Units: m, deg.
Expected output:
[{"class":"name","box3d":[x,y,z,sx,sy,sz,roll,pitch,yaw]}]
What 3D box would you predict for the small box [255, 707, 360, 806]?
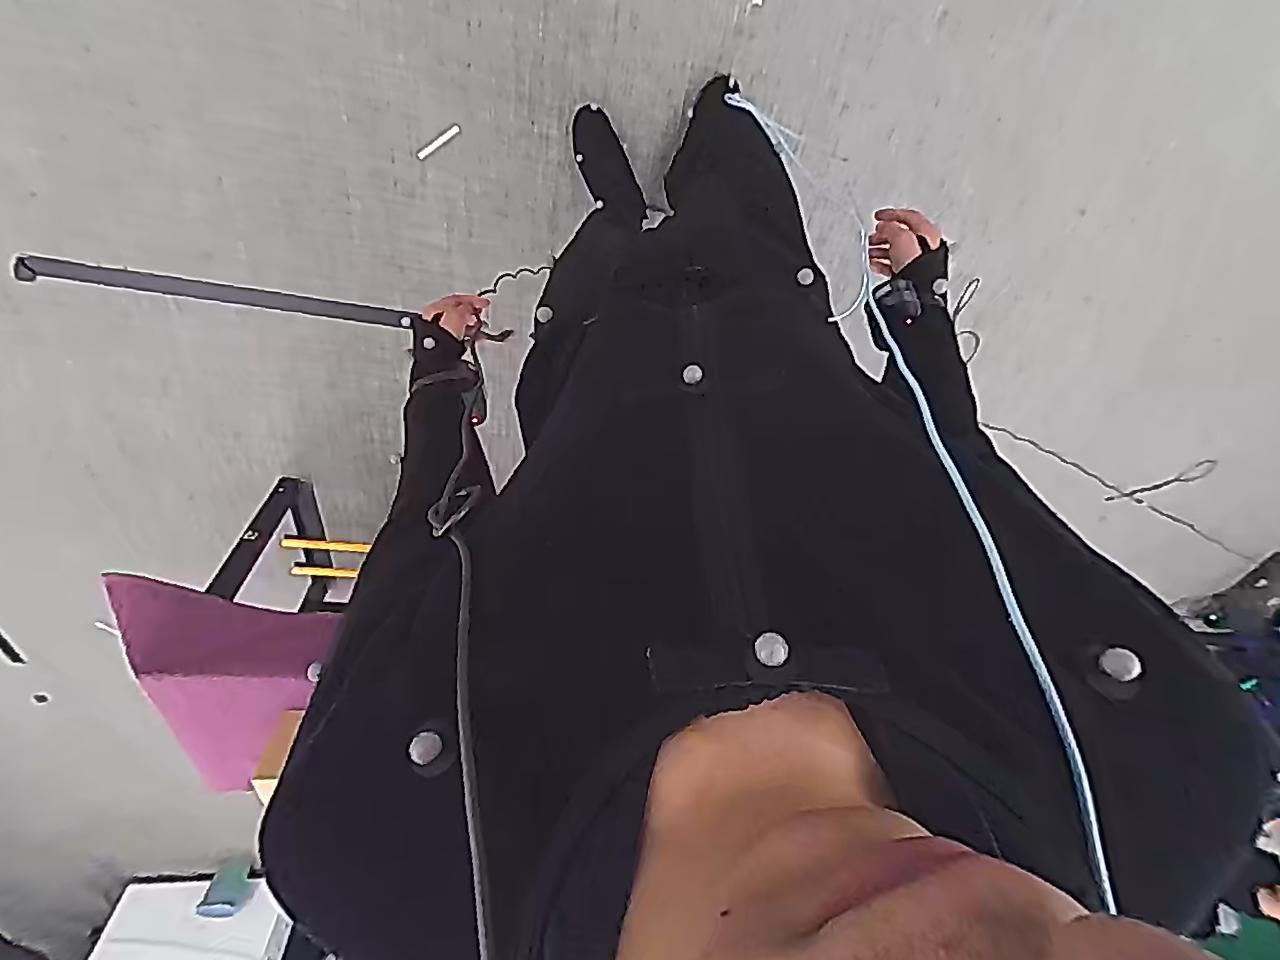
[{"class":"small box","box3d":[-0.813,0.682,1.342,0.168,0.176,0.179,6,128,-11]}]
